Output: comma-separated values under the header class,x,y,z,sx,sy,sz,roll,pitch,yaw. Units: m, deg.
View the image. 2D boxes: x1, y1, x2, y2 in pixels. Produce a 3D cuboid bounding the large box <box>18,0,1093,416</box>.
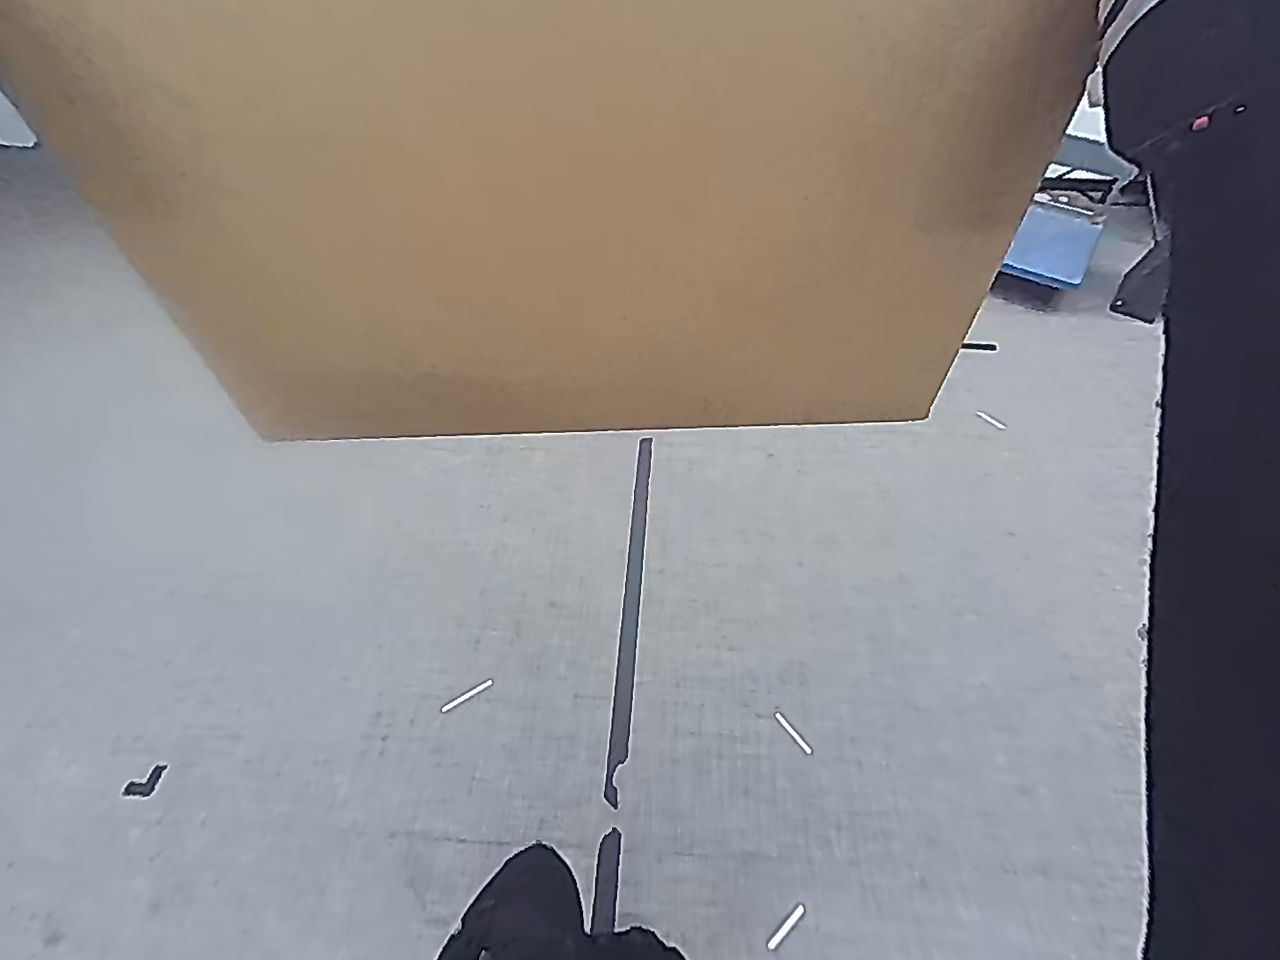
class,x,y,z,sx,sy,sz,roll,pitch,yaw
large box,-0.031,-0.254,0.327,0.408,0.320,0.320,-1,48,-1
